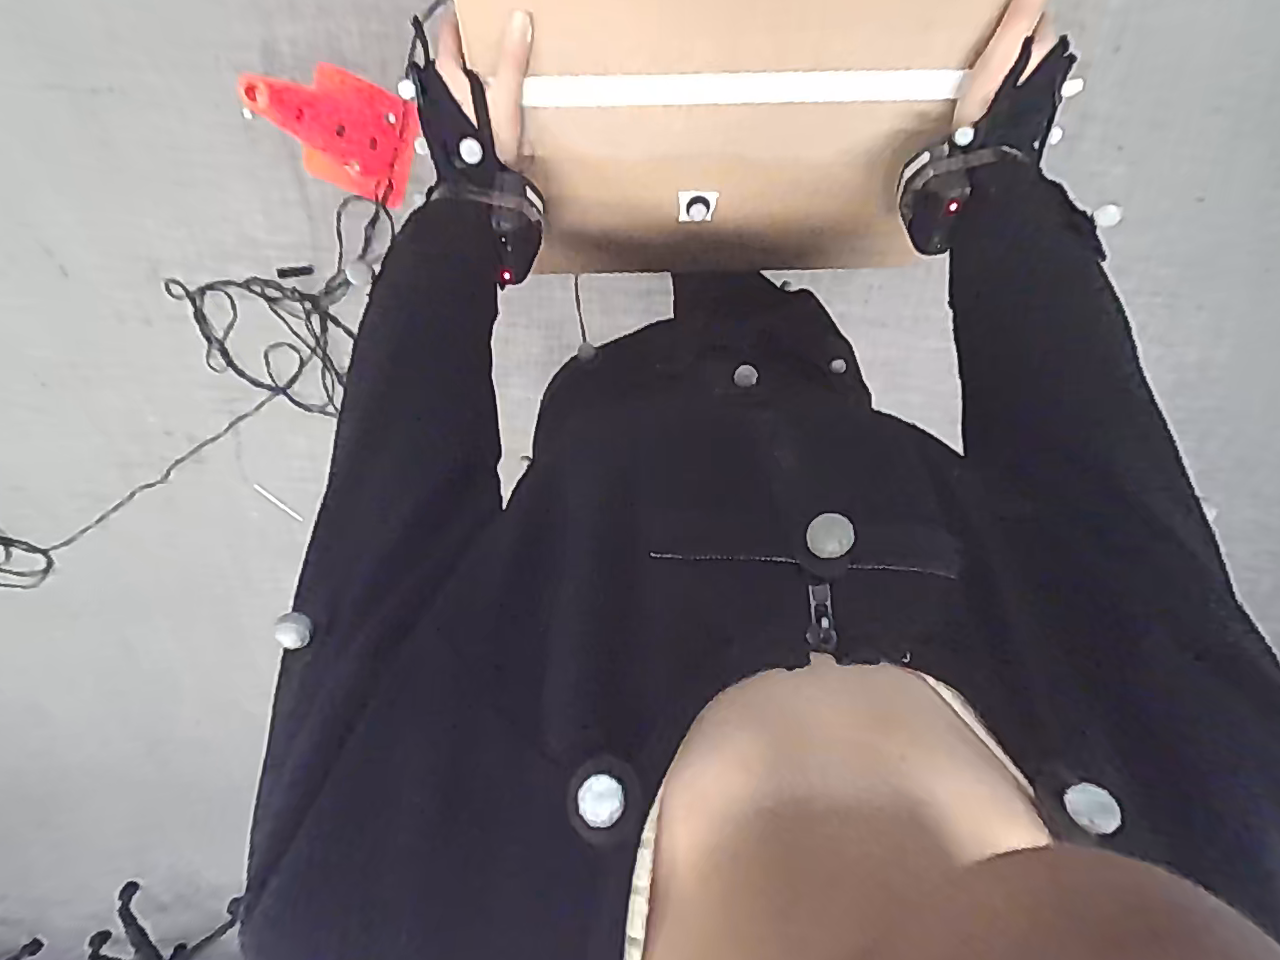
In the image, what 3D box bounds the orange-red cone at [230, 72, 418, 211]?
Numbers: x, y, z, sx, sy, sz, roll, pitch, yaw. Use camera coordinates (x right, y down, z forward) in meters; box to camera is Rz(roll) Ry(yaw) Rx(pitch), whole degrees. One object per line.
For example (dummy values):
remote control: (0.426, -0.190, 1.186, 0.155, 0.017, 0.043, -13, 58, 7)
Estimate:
orange-red cone: (-0.558, -0.607, 0.917, 0.199, 0.360, 0.198, 23, 109, -9)
